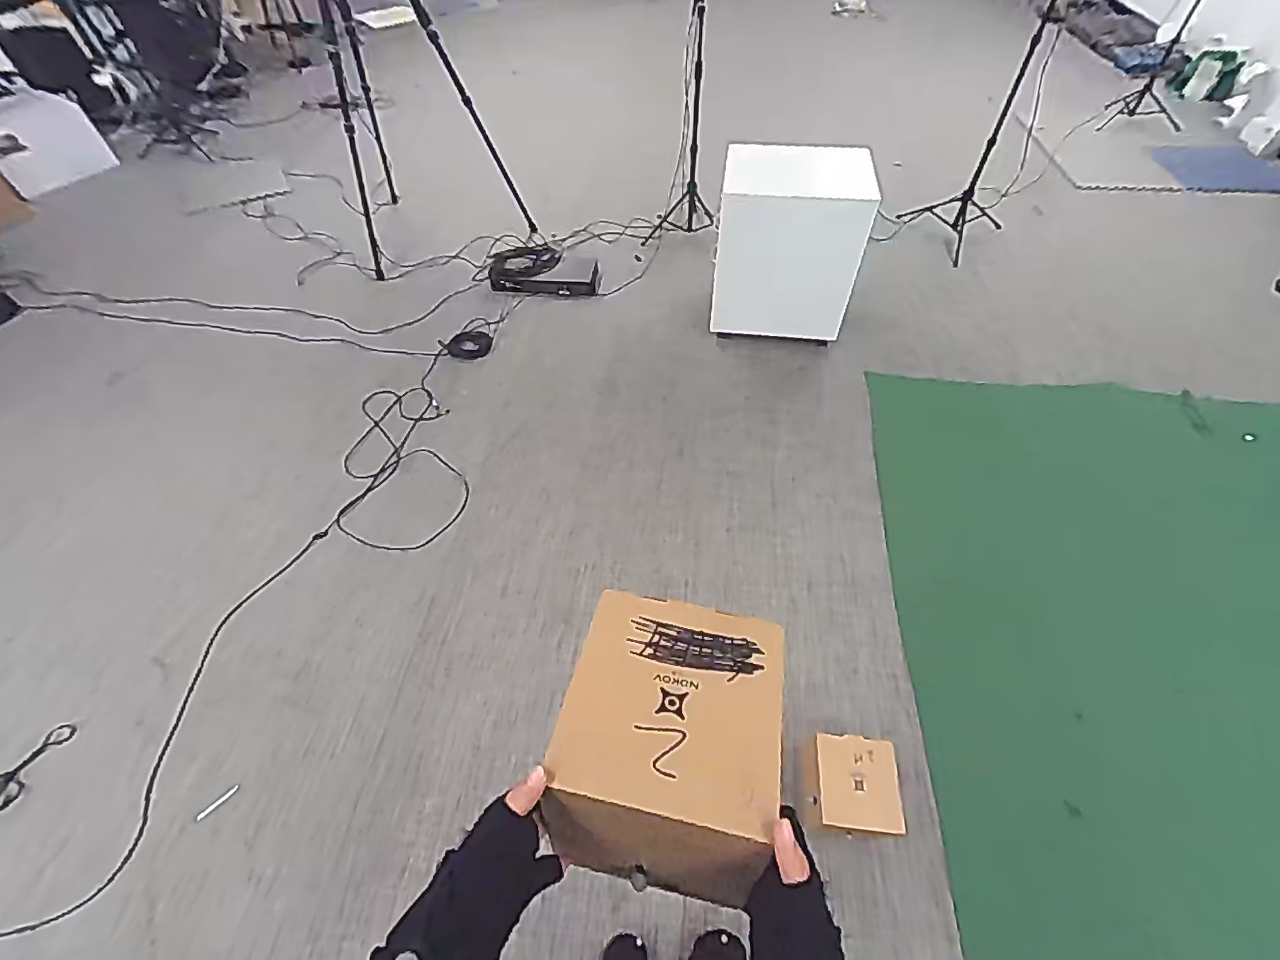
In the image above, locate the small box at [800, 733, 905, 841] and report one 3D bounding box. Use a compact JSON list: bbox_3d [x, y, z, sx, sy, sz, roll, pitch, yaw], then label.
[{"bbox_3d":[0.456,0.678,1.188,0.168,0.176,0.179,5,53,4],"label":"small box"}]
